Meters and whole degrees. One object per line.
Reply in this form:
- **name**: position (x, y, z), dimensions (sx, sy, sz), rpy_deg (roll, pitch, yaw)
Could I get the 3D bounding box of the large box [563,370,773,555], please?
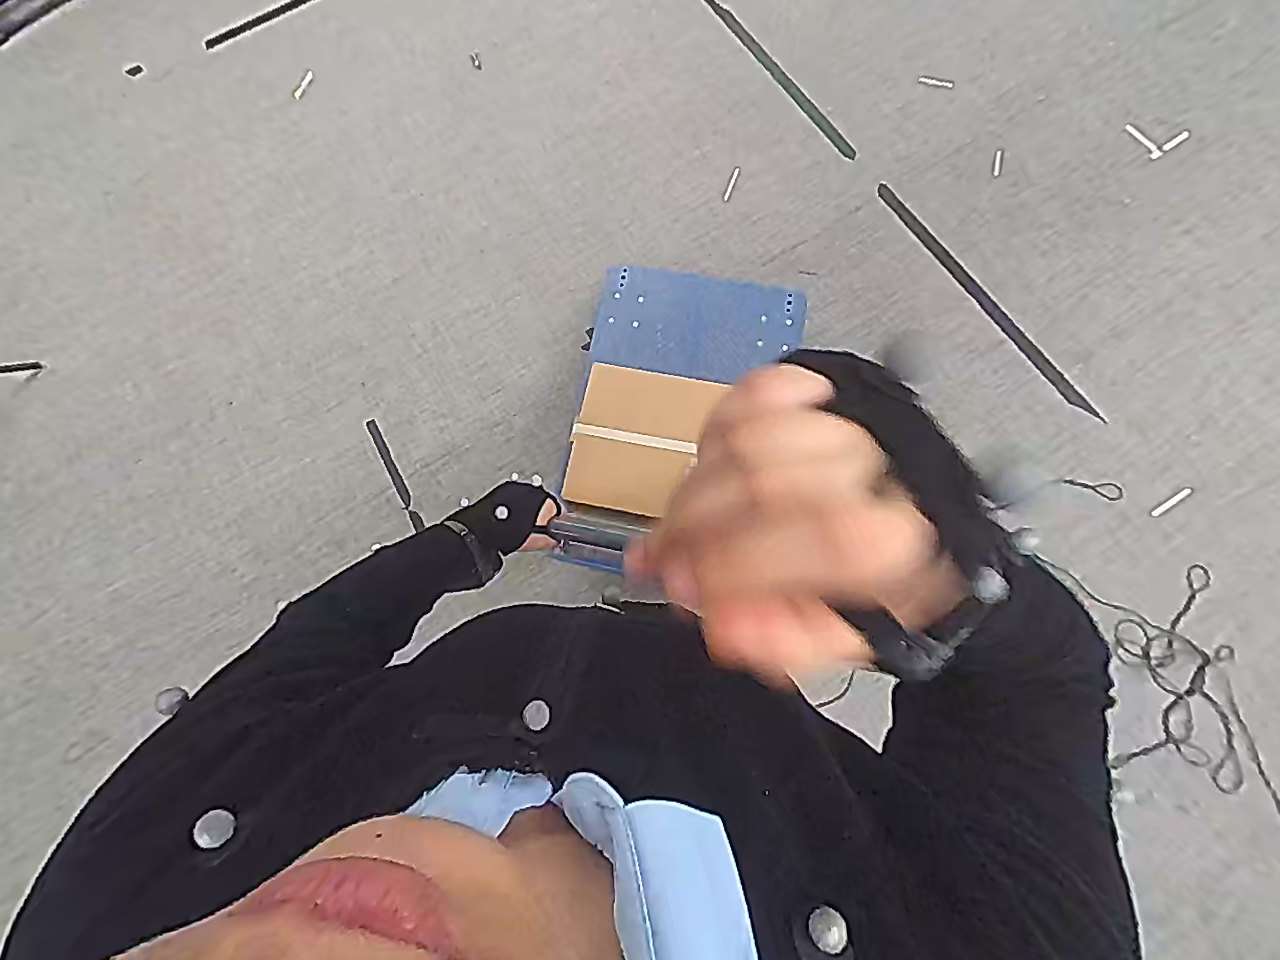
- **large box**: position (0.064, -0.025, 1.268), dimensions (0.408, 0.320, 0.320), rpy_deg (11, 77, 4)
